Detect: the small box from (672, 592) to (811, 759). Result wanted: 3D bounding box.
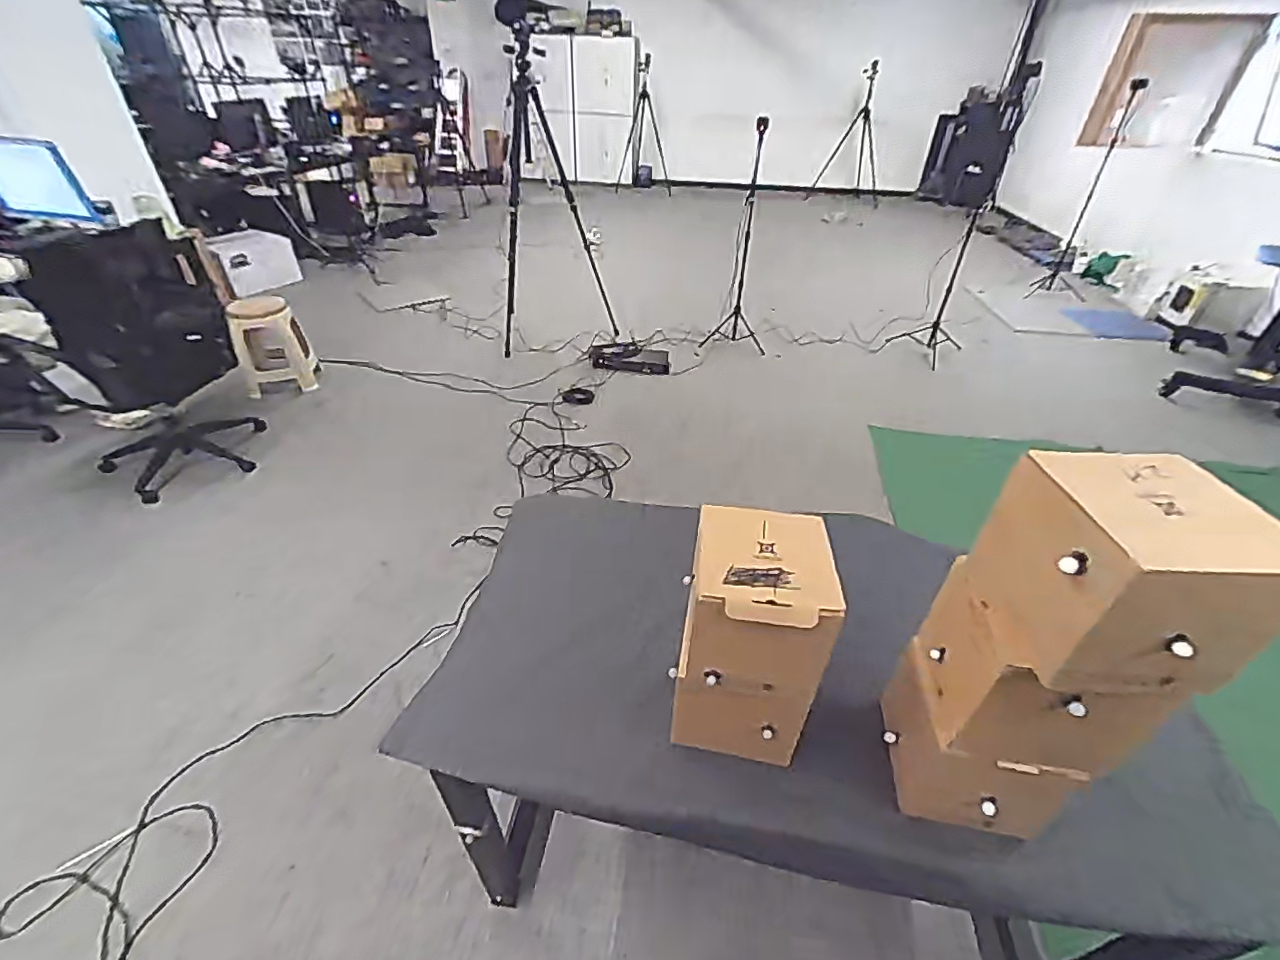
[{"bbox_3d":[0.146,0.286,0.805,0.179,0.176,0.168,6,36,9],"label":"small box"}]

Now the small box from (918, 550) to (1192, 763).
[{"bbox_3d":[0.461,0.208,0.640,0.179,0.176,0.168,5,36,8],"label":"small box"}]

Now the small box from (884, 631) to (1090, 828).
[{"bbox_3d":[0.450,0.339,0.738,0.168,0.176,0.179,7,37,9],"label":"small box"}]

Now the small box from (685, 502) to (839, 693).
[{"bbox_3d":[0.149,0.152,0.710,0.168,0.176,0.179,5,35,5],"label":"small box"}]

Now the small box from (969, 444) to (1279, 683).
[{"bbox_3d":[0.469,0.080,0.535,0.168,0.176,0.179,1,36,1],"label":"small box"}]
